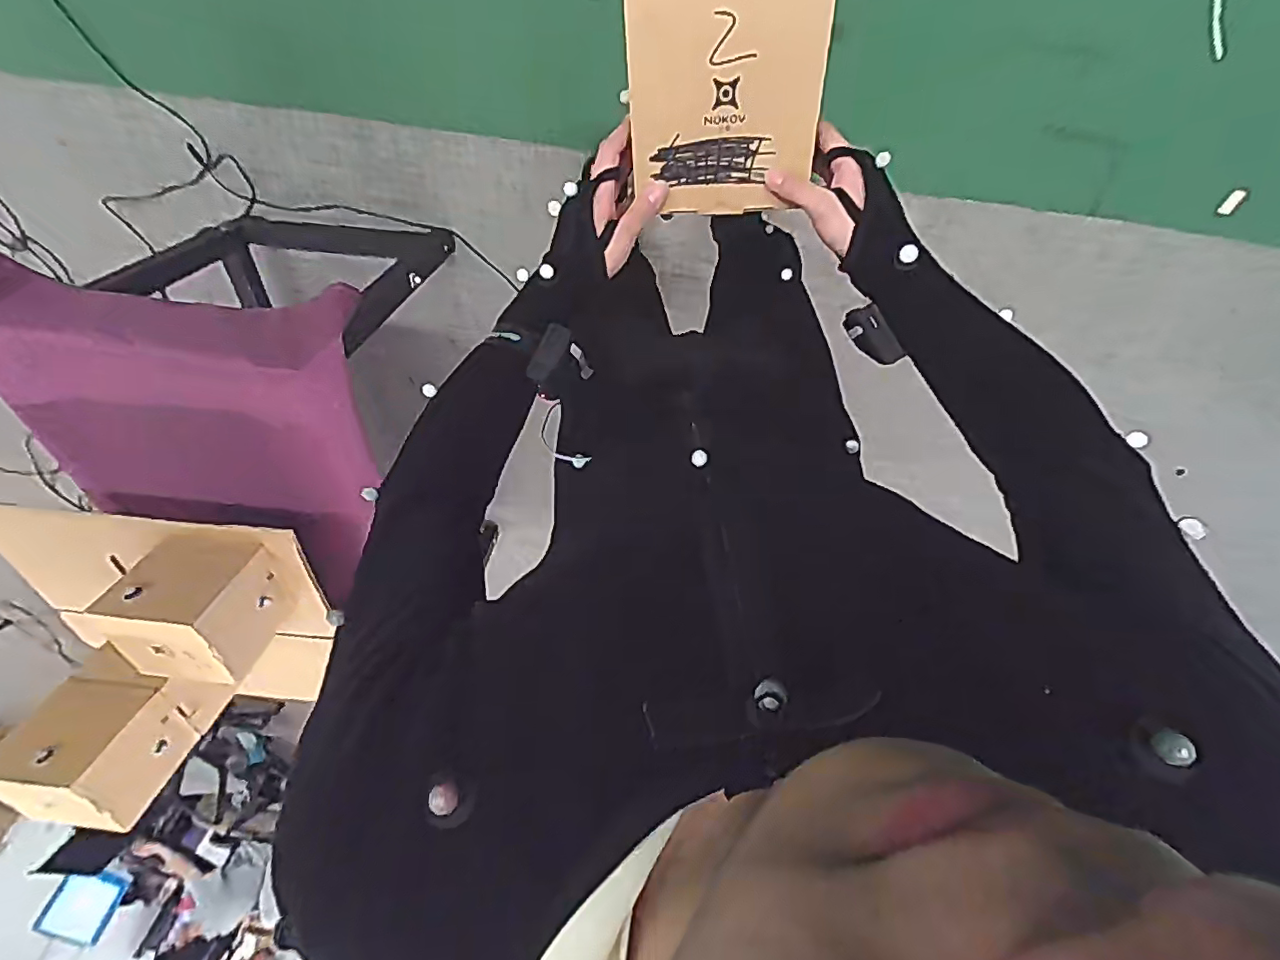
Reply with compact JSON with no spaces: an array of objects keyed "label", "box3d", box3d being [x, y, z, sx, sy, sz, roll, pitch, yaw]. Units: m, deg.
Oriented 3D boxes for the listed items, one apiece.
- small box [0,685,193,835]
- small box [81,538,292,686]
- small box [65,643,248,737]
[{"label":"small box","box3d":[-0.926,0.465,0.913,0.179,0.176,0.168,4,127,3]},{"label":"small box","box3d":[-0.734,0.215,0.901,0.179,0.176,0.168,6,129,2]},{"label":"small box","box3d":[-0.903,0.365,1.039,0.179,0.176,0.168,5,128,3]}]
